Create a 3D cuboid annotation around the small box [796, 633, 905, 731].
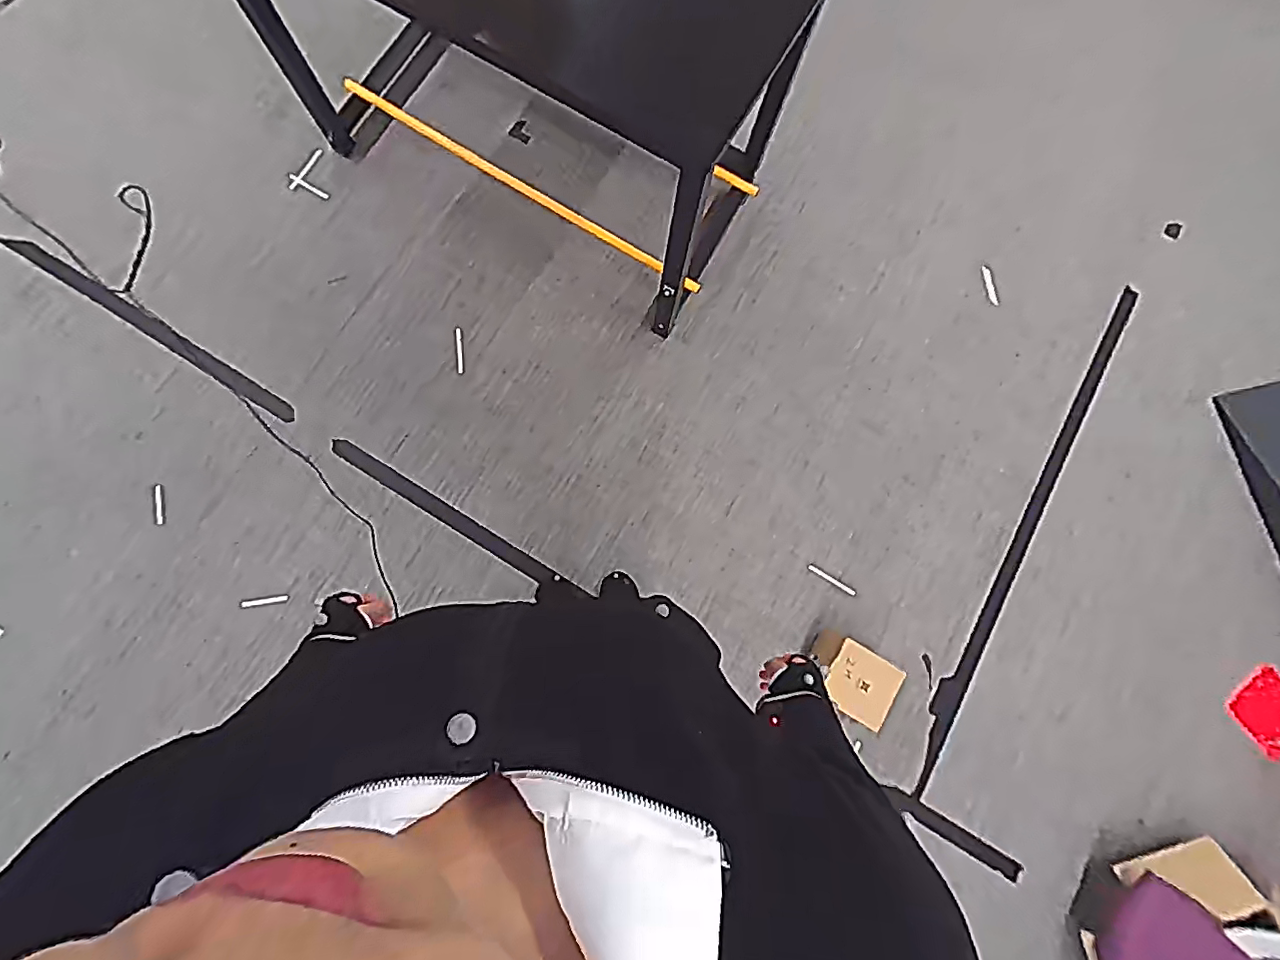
[{"bbox_3d":[0.545,0.518,1.420,0.179,0.176,0.168,32,80,2],"label":"small box"}]
